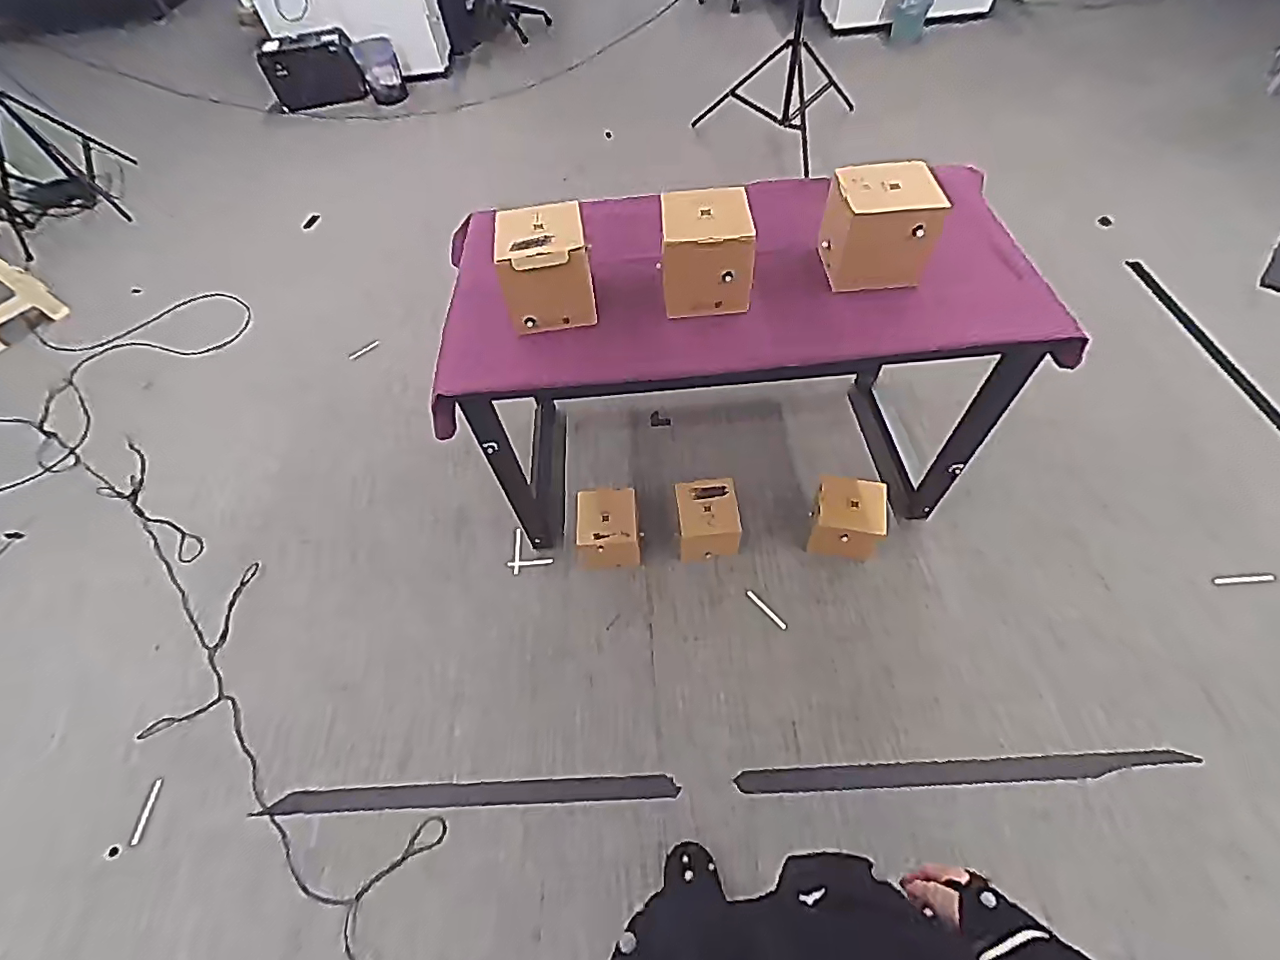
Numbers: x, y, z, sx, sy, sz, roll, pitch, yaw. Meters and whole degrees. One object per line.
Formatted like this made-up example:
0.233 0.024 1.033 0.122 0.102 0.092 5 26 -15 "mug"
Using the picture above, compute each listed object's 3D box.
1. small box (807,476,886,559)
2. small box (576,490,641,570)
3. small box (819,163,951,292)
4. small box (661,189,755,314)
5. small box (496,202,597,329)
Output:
0.585 0.111 1.541 0.179 0.176 0.168 9 59 12 "small box"
-0.087 0.147 1.573 0.168 0.176 0.179 -3 55 3 "small box"
0.473 -0.496 1.074 0.179 0.176 0.168 -3 55 3 "small box"
0.129 -0.445 1.071 0.168 0.176 0.179 -3 54 1 "small box"
-0.182 -0.418 1.076 0.168 0.176 0.179 -9 54 -1 "small box"
